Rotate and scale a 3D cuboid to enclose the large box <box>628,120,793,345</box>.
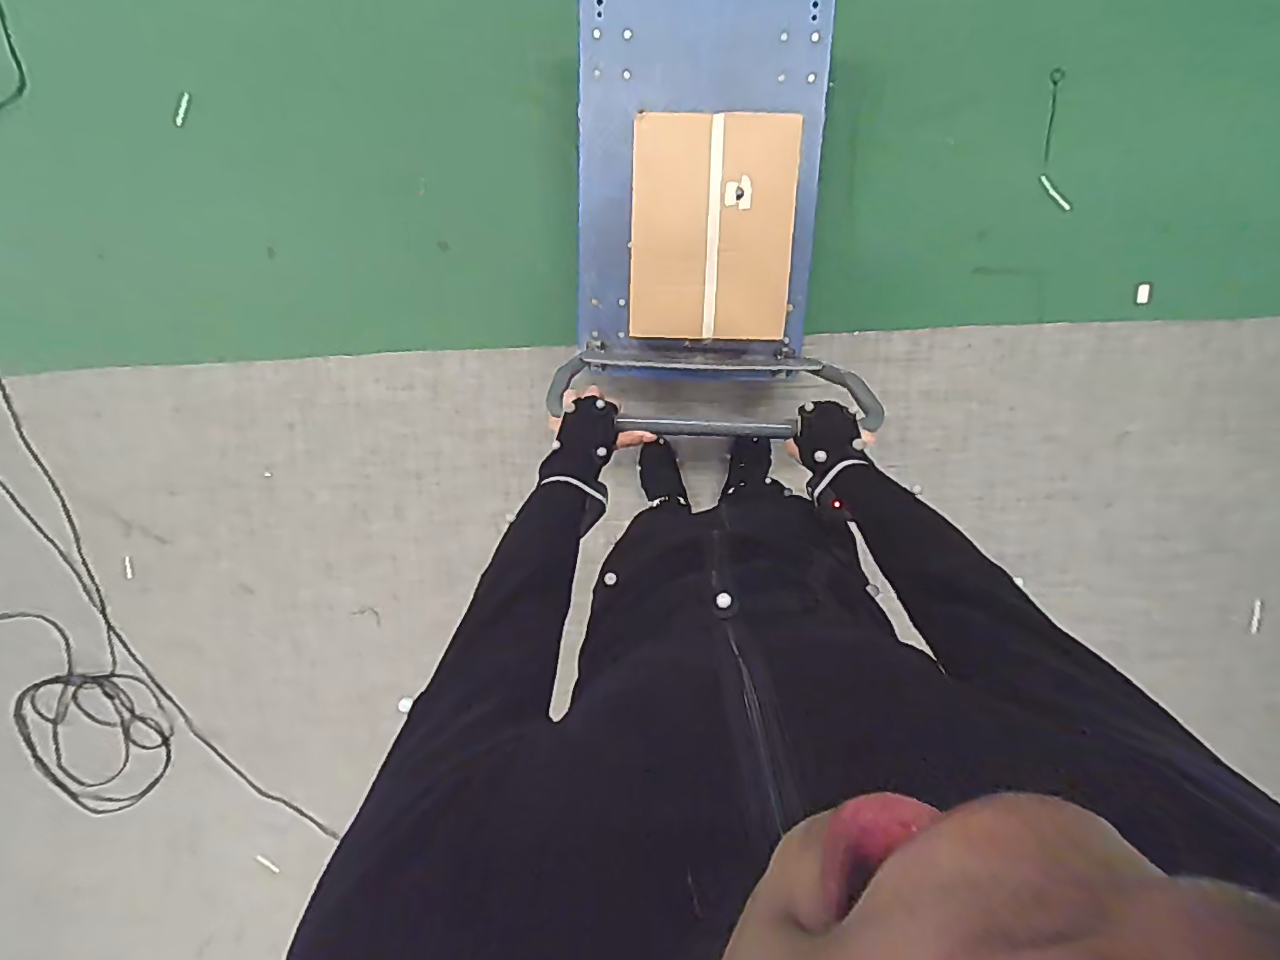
[{"bbox_3d":[0.141,-0.513,1.202,0.320,0.320,0.408,2,103,2],"label":"large box"}]
